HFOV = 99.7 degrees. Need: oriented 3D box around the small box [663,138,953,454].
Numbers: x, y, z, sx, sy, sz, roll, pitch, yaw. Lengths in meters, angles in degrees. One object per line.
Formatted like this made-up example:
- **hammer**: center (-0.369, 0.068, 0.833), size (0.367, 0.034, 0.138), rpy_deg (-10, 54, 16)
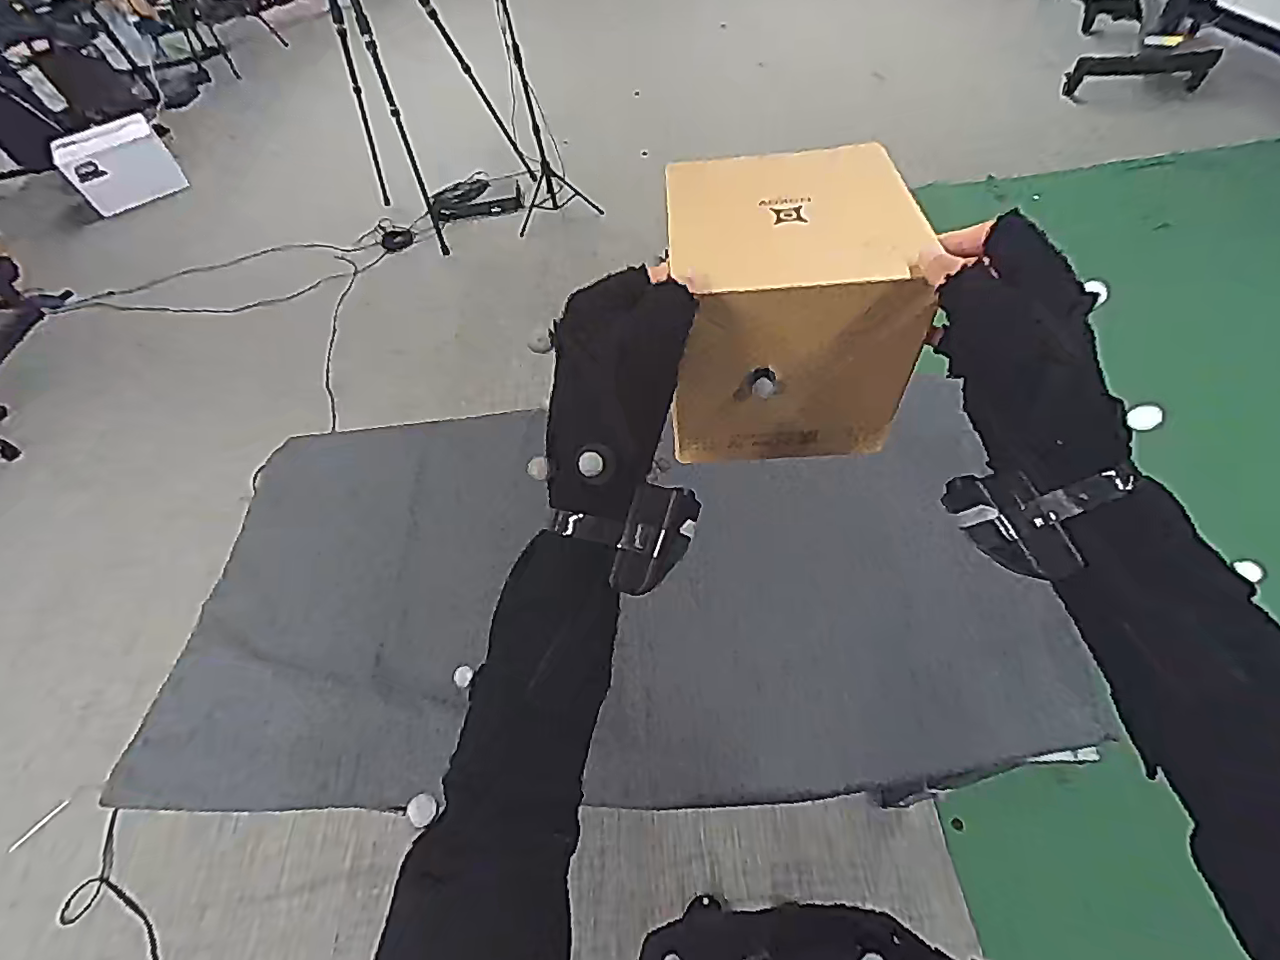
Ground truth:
- **small box**: center (0.107, -0.132, 0.424), size (0.168, 0.176, 0.179), rpy_deg (-3, 53, 5)
